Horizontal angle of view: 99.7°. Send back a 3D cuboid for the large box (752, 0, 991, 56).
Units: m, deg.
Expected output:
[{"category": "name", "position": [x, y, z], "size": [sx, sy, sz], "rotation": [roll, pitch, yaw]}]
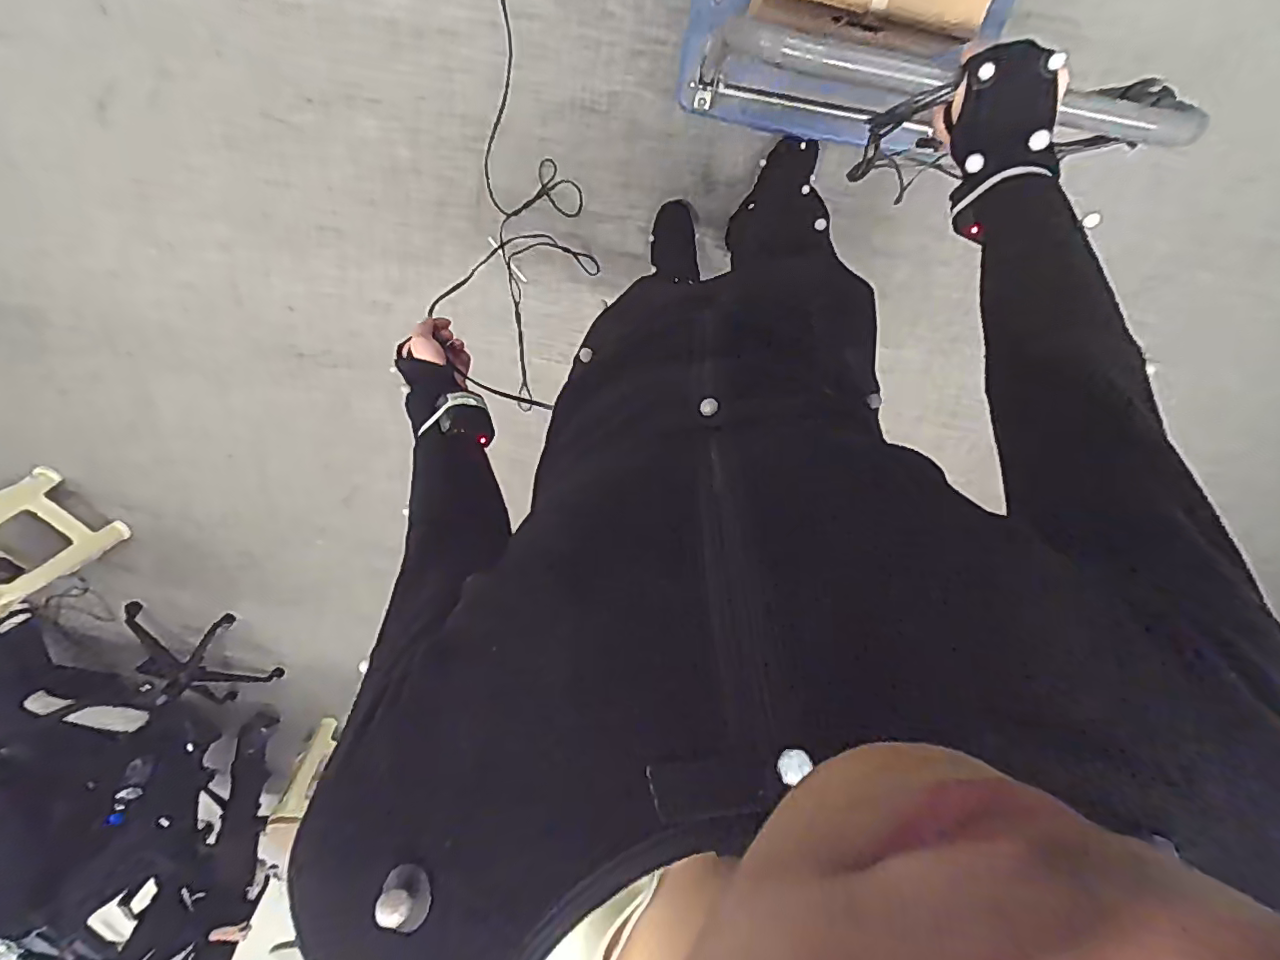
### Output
[{"category": "large box", "position": [0.376, -0.906, 0.782], "size": [0.320, 0.320, 0.408], "rotation": [11, 123, -4]}]
